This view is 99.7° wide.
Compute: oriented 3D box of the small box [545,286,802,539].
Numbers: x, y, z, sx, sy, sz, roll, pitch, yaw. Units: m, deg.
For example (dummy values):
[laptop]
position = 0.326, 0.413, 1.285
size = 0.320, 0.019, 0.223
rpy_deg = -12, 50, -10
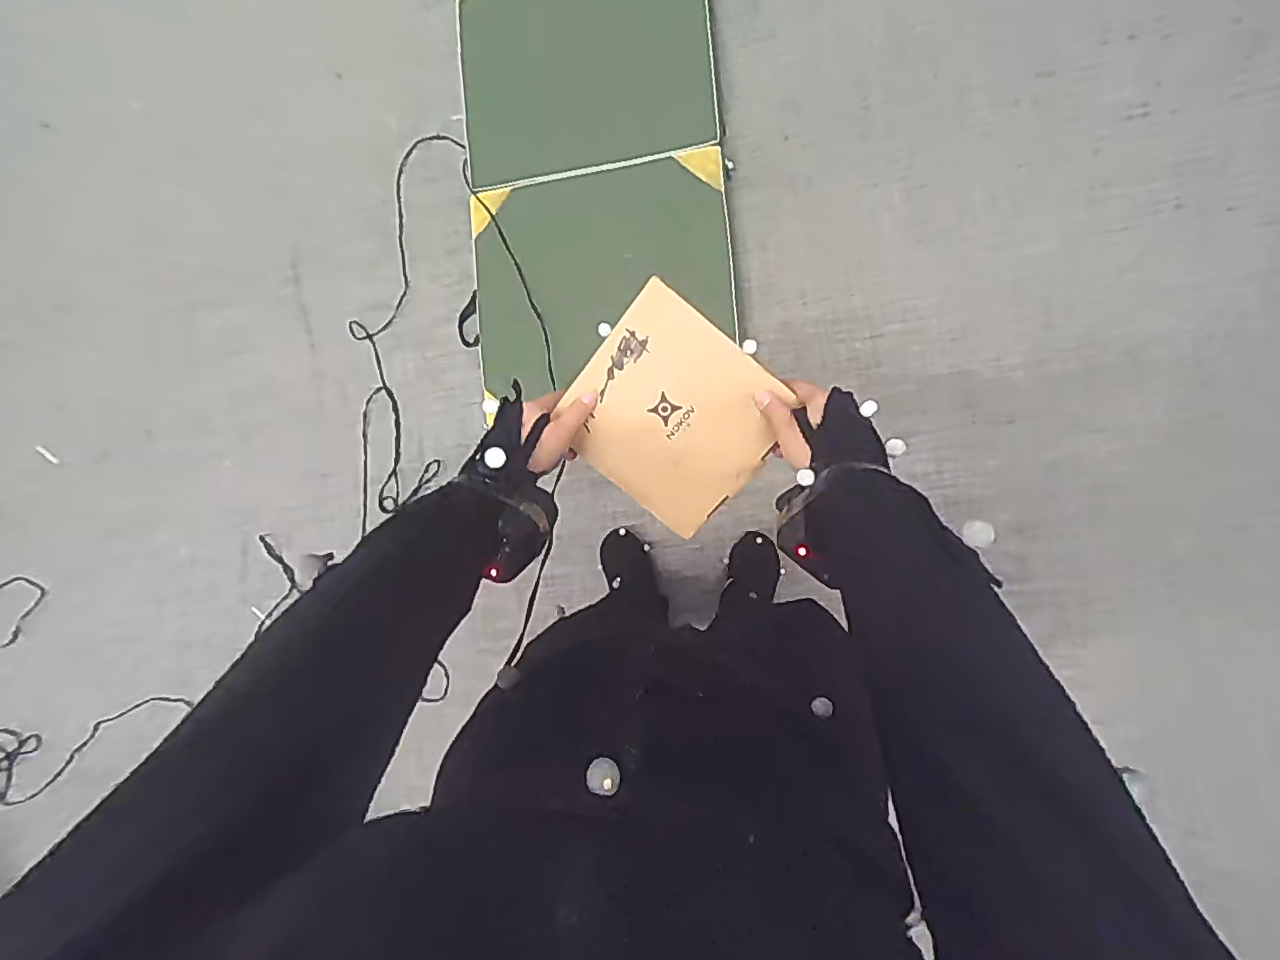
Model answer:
[small box]
position = 0.038, -0.076, 0.560
size = 0.179, 0.176, 0.168
rpy_deg = 39, 106, -3
